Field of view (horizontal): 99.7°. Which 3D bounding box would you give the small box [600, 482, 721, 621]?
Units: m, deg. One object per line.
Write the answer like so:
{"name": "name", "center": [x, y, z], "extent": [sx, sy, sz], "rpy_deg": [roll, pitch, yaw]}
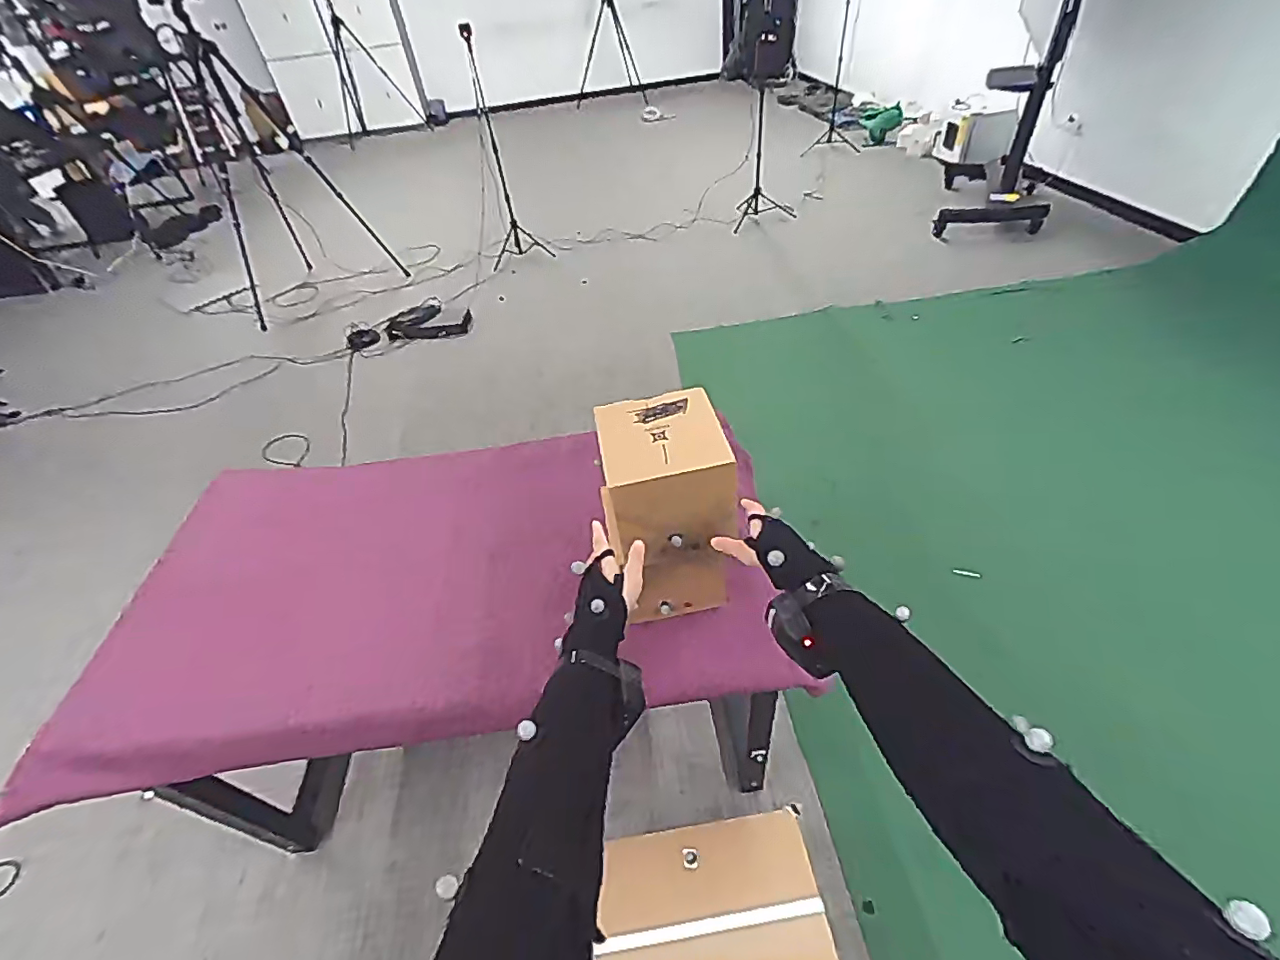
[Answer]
{"name": "small box", "center": [0.033, 0.105, 0.895], "extent": [0.168, 0.176, 0.179], "rpy_deg": [-12, 43, -2]}

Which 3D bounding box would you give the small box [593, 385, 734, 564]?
{"name": "small box", "center": [0.032, -0.008, 0.774], "extent": [0.168, 0.176, 0.179], "rpy_deg": [-12, 43, -1]}
